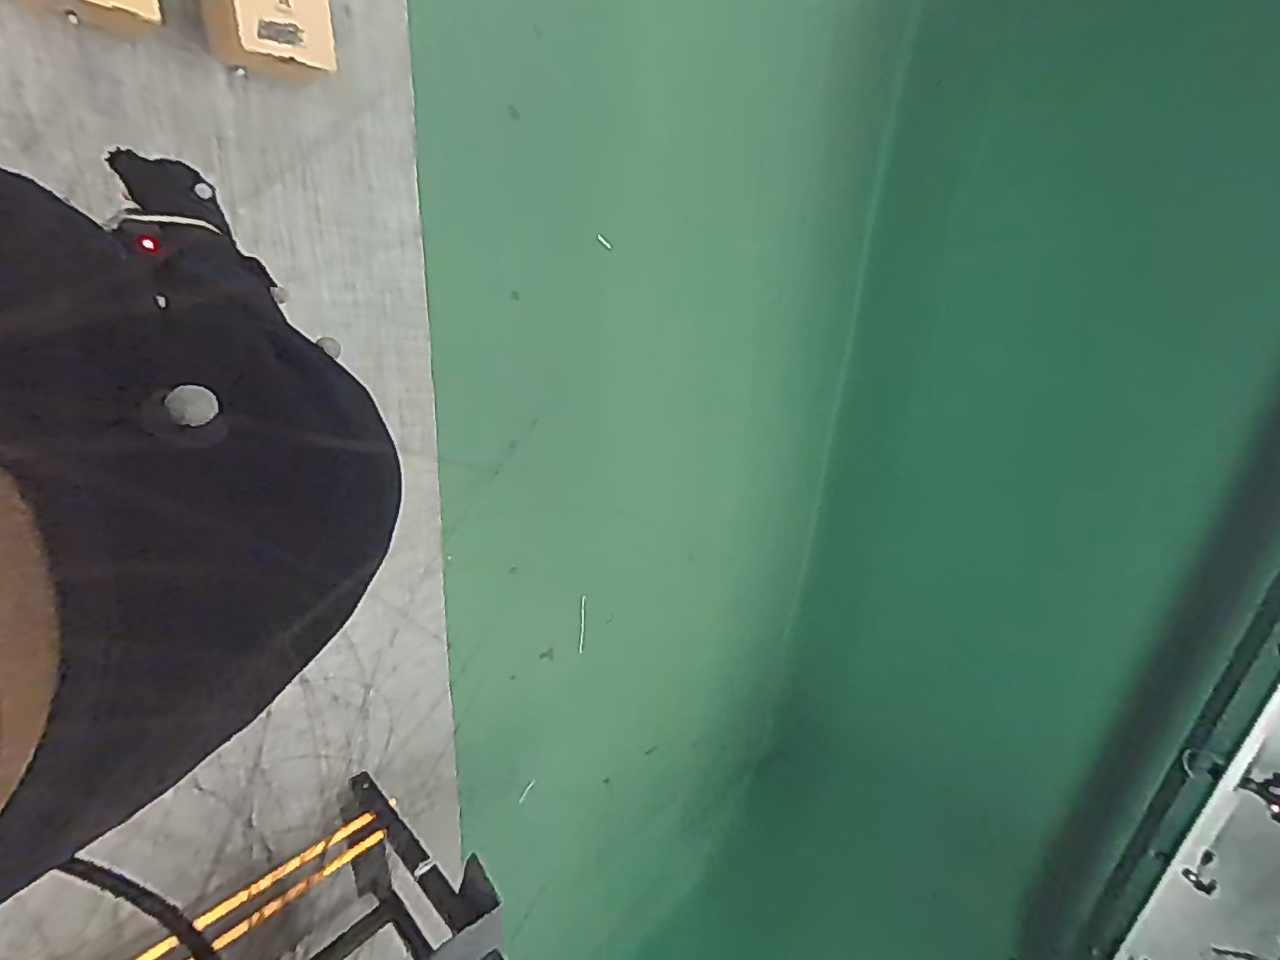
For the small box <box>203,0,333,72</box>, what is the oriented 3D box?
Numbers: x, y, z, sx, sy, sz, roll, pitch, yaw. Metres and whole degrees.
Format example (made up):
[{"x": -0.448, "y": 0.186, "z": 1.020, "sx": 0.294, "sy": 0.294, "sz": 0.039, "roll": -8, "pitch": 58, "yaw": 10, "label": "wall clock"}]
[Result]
[{"x": -0.717, "y": -0.914, "z": 1.035, "sx": 0.168, "sy": 0.176, "sz": 0.179, "roll": -20, "pitch": 122, "yaw": -46, "label": "small box"}]

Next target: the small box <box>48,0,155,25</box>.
[{"x": -0.895, "y": -0.859, "z": 0.841, "sx": 0.168, "sy": 0.176, "sz": 0.179, "roll": -16, "pitch": 120, "yaw": -47, "label": "small box"}]
